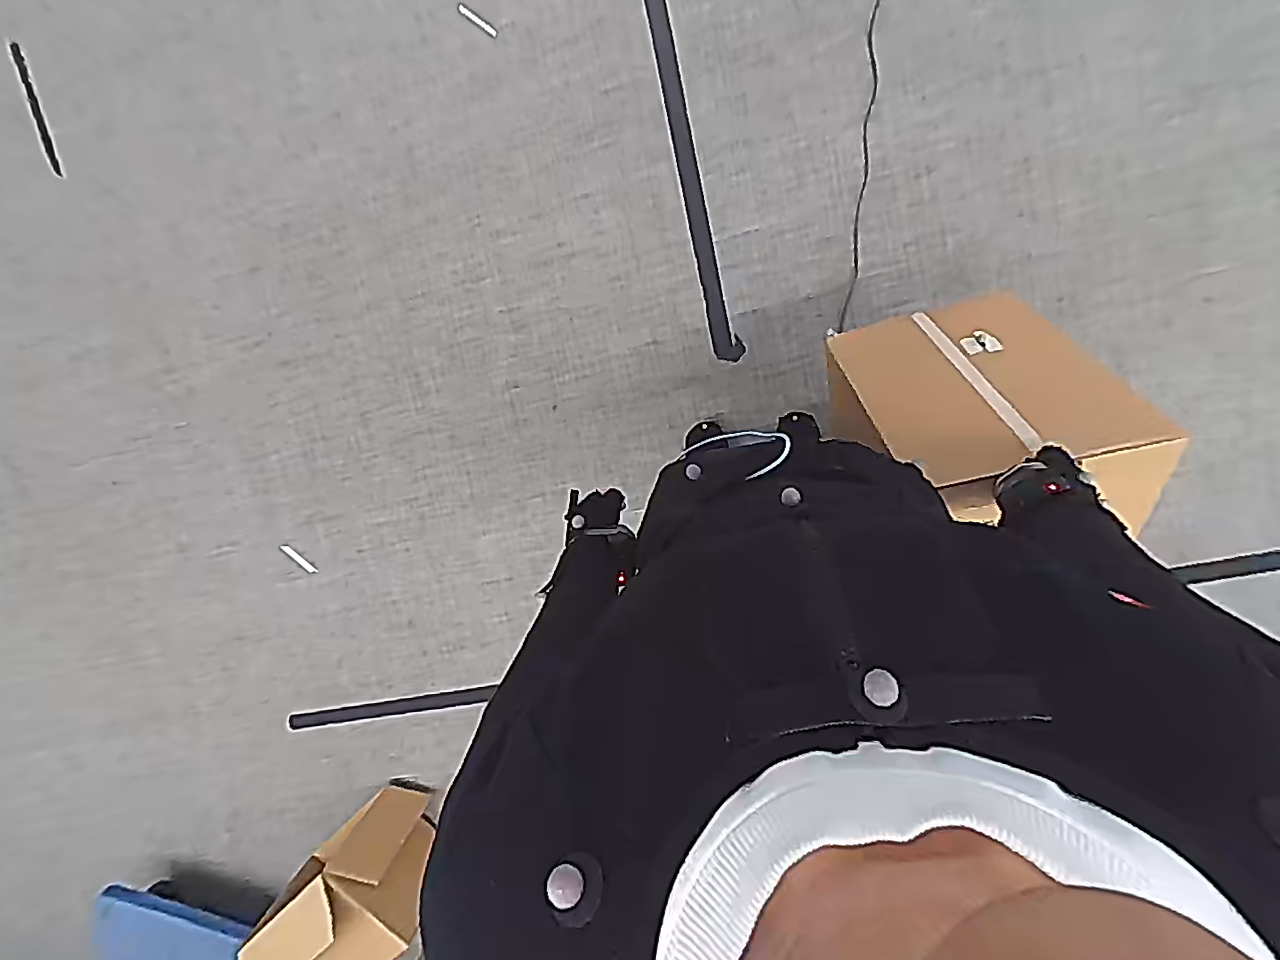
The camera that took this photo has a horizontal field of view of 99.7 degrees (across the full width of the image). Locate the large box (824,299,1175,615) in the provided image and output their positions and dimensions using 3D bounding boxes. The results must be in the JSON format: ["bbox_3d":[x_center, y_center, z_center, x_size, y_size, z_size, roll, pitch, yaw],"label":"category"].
[{"bbox_3d":[0.532,-0.045,0.913,0.320,0.408,0.320,-13,131,8],"label":"large box"}]
